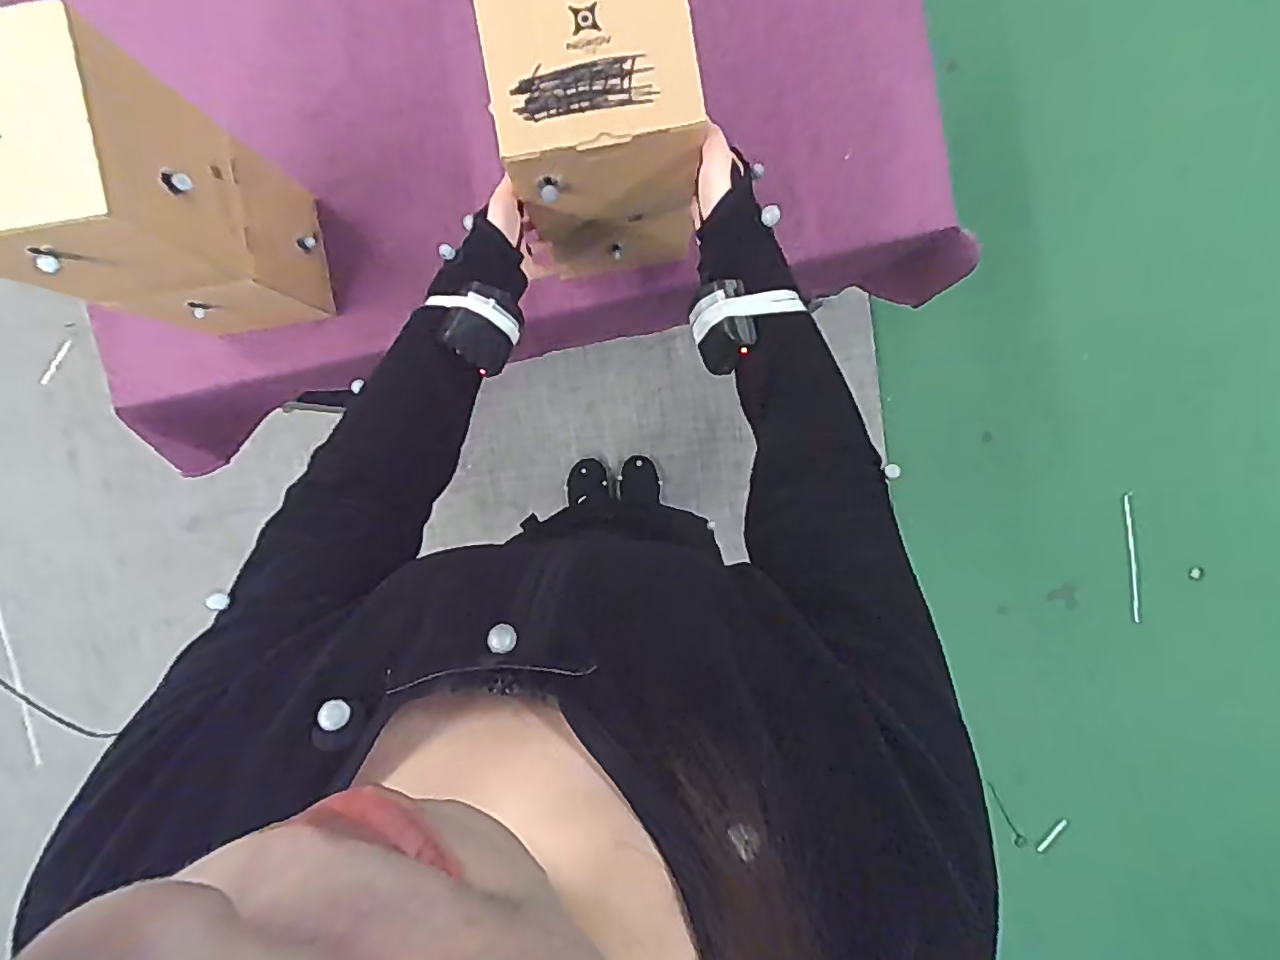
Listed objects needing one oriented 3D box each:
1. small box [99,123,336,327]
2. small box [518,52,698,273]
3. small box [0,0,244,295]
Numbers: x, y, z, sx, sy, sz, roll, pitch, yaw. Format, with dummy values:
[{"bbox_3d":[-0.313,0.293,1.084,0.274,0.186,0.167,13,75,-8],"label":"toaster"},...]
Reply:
[{"bbox_3d":[-0.515,-0.295,0.663,0.179,0.176,0.168,-9,95,0],"label":"small box"},{"bbox_3d":[-0.034,-0.369,0.660,0.179,0.176,0.168,-9,94,2],"label":"small box"},{"bbox_3d":[-0.509,-0.284,0.500,0.179,0.176,0.168,-9,94,1],"label":"small box"}]
